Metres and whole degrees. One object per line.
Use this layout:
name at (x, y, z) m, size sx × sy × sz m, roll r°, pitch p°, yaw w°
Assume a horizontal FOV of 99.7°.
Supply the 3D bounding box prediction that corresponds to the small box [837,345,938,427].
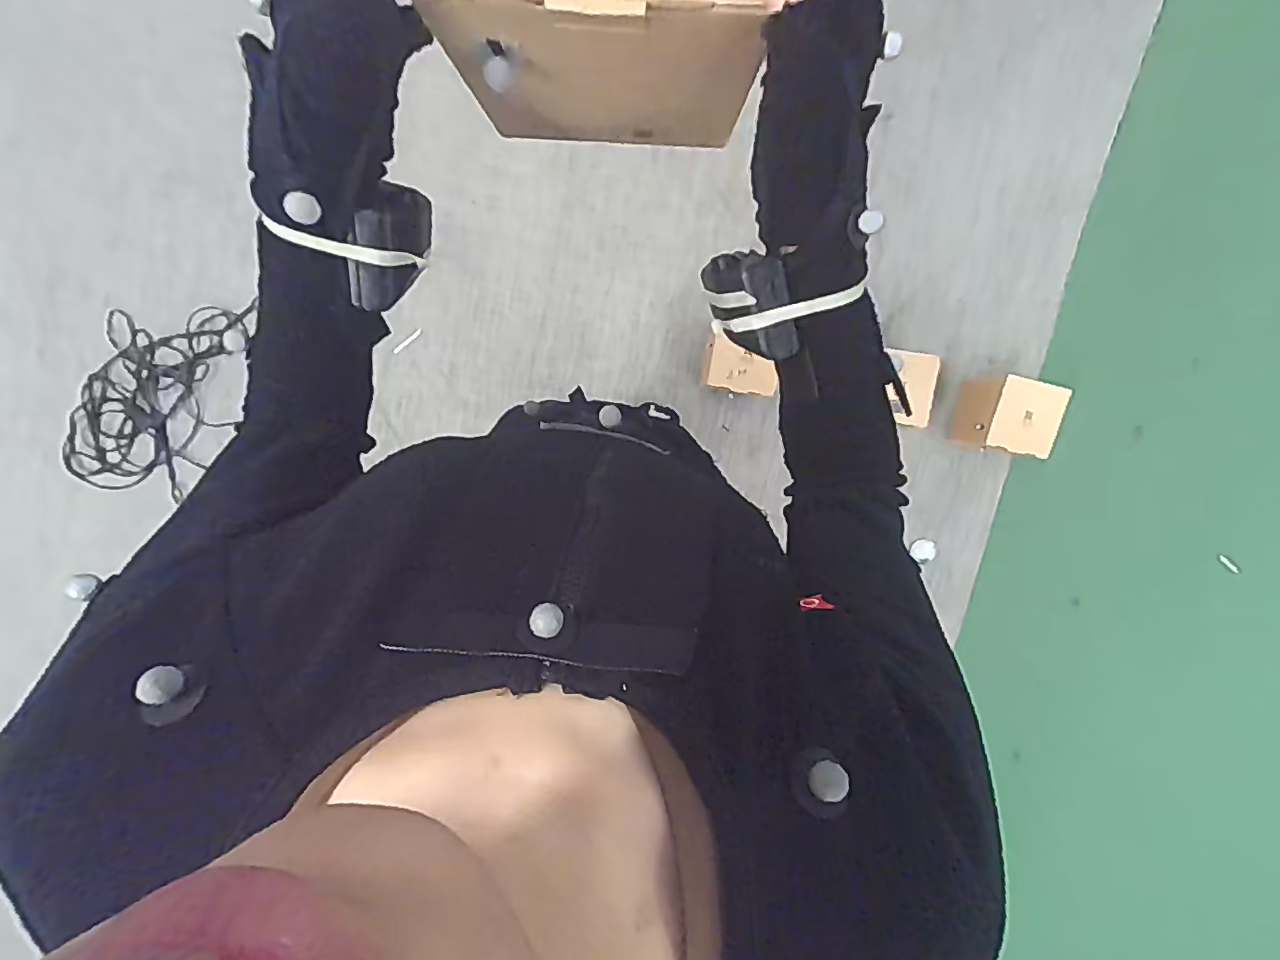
small box at (0.620, -0.237, 1.377) m, size 0.168 × 0.176 × 0.179 m, roll 8°, pitch 97°, yaw -2°

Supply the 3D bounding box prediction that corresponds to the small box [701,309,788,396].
small box at (0.253, -0.313, 1.357) m, size 0.168 × 0.176 × 0.179 m, roll 10°, pitch 99°, yaw -1°

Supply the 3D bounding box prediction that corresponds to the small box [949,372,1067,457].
small box at (0.936, -0.170, 1.394) m, size 0.168 × 0.176 × 0.179 m, roll 13°, pitch 98°, yaw -2°
